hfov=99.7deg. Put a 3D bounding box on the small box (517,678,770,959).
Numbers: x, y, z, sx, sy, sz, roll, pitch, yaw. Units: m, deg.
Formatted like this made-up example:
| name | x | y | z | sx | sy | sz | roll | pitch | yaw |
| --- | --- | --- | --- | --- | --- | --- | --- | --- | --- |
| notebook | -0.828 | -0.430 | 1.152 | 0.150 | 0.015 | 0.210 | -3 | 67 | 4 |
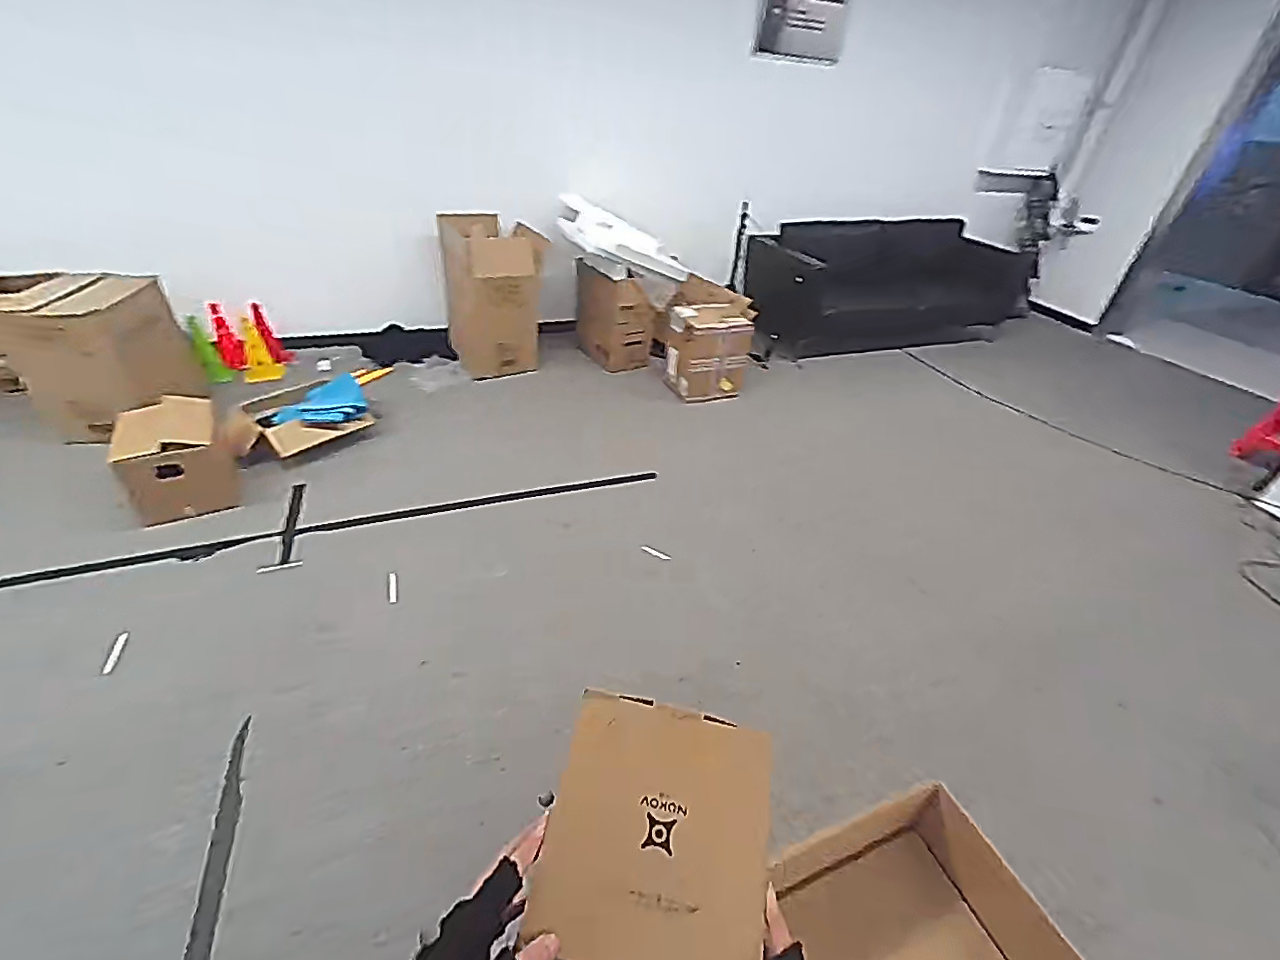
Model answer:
| name | x | y | z | sx | sy | sz | roll | pitch | yaw |
| --- | --- | --- | --- | --- | --- | --- | --- | --- | --- |
| small box | 0.003 | 0.301 | 0.464 | 0.168 | 0.176 | 0.179 | 13 | 51 | 2 |
